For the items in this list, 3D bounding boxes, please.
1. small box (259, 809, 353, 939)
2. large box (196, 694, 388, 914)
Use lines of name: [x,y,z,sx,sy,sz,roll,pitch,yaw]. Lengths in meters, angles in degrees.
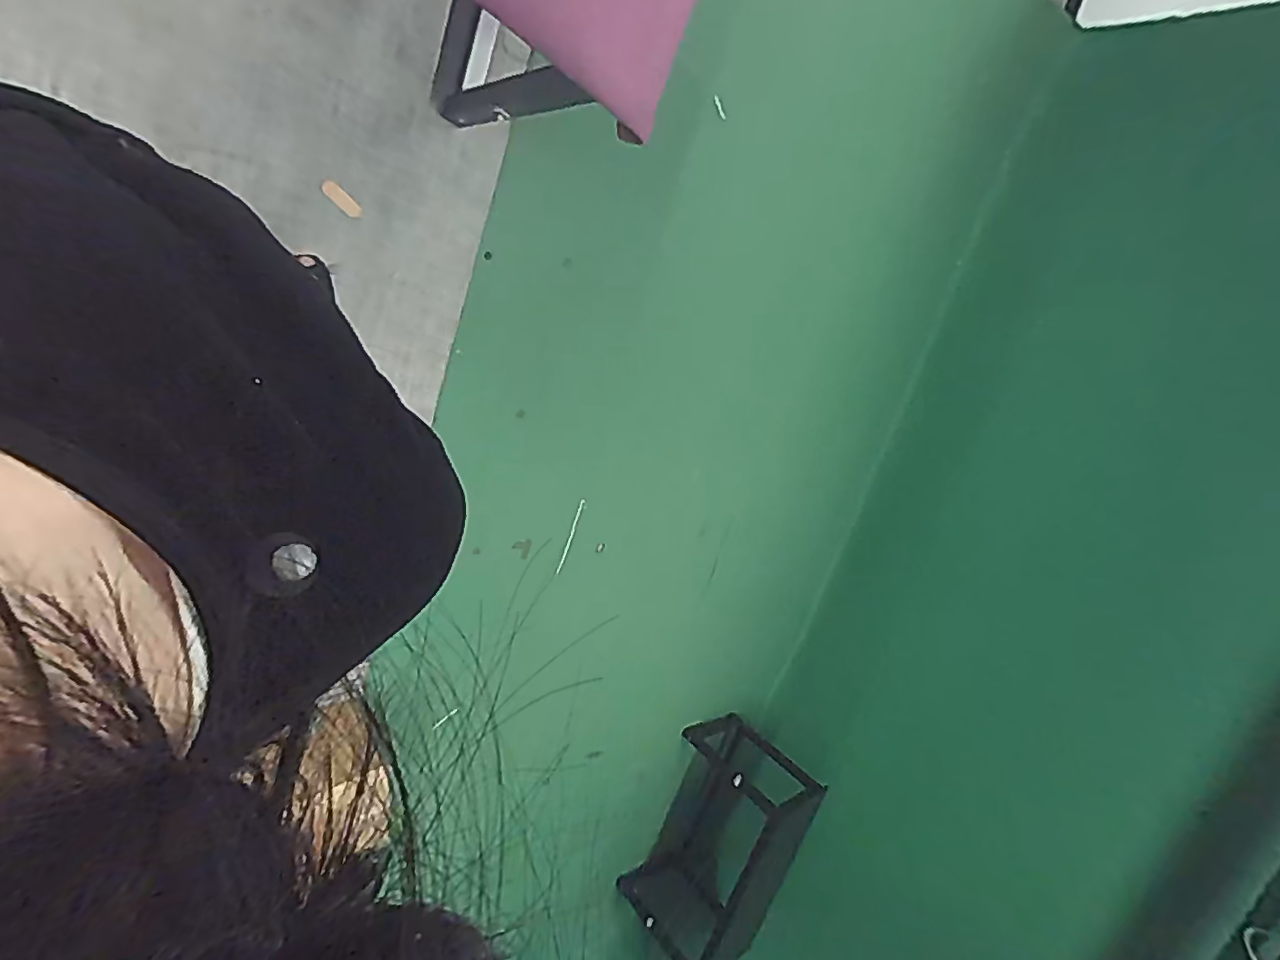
small box: [-0.860,0.999,1.391,0.179,0.176,0.168,-6,113,-42]
large box: [-1.000,0.907,1.574,0.408,0.320,0.320,-10,119,-42]
